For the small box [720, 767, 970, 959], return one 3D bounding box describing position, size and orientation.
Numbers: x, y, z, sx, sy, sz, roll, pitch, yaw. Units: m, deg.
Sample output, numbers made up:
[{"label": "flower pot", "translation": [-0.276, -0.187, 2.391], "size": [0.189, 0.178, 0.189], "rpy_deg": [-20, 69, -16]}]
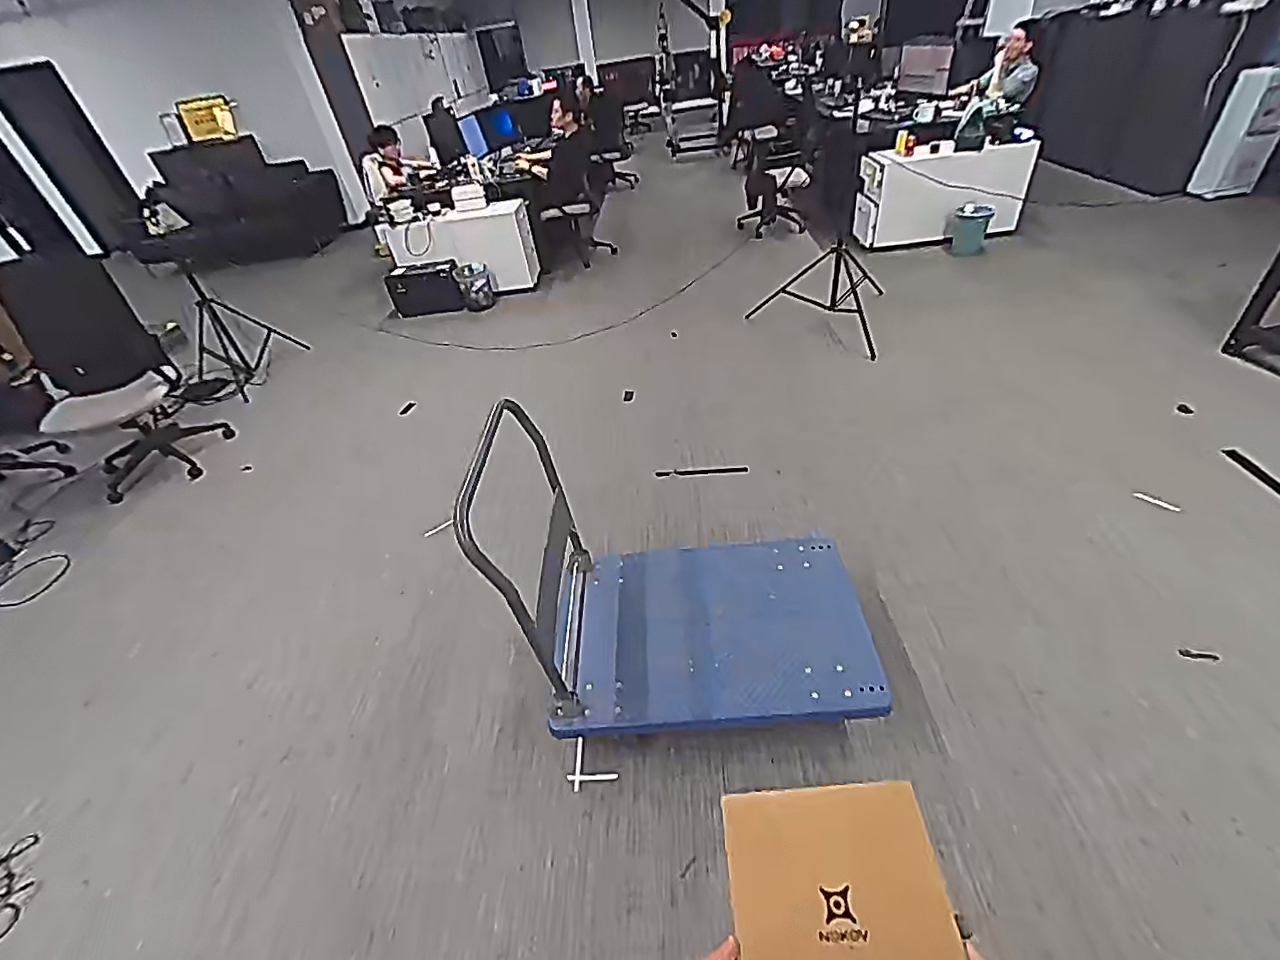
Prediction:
[{"label": "small box", "translation": [0.169, 0.376, 0.471], "size": [0.168, 0.176, 0.179], "rpy_deg": [-11, 44, 9]}]
